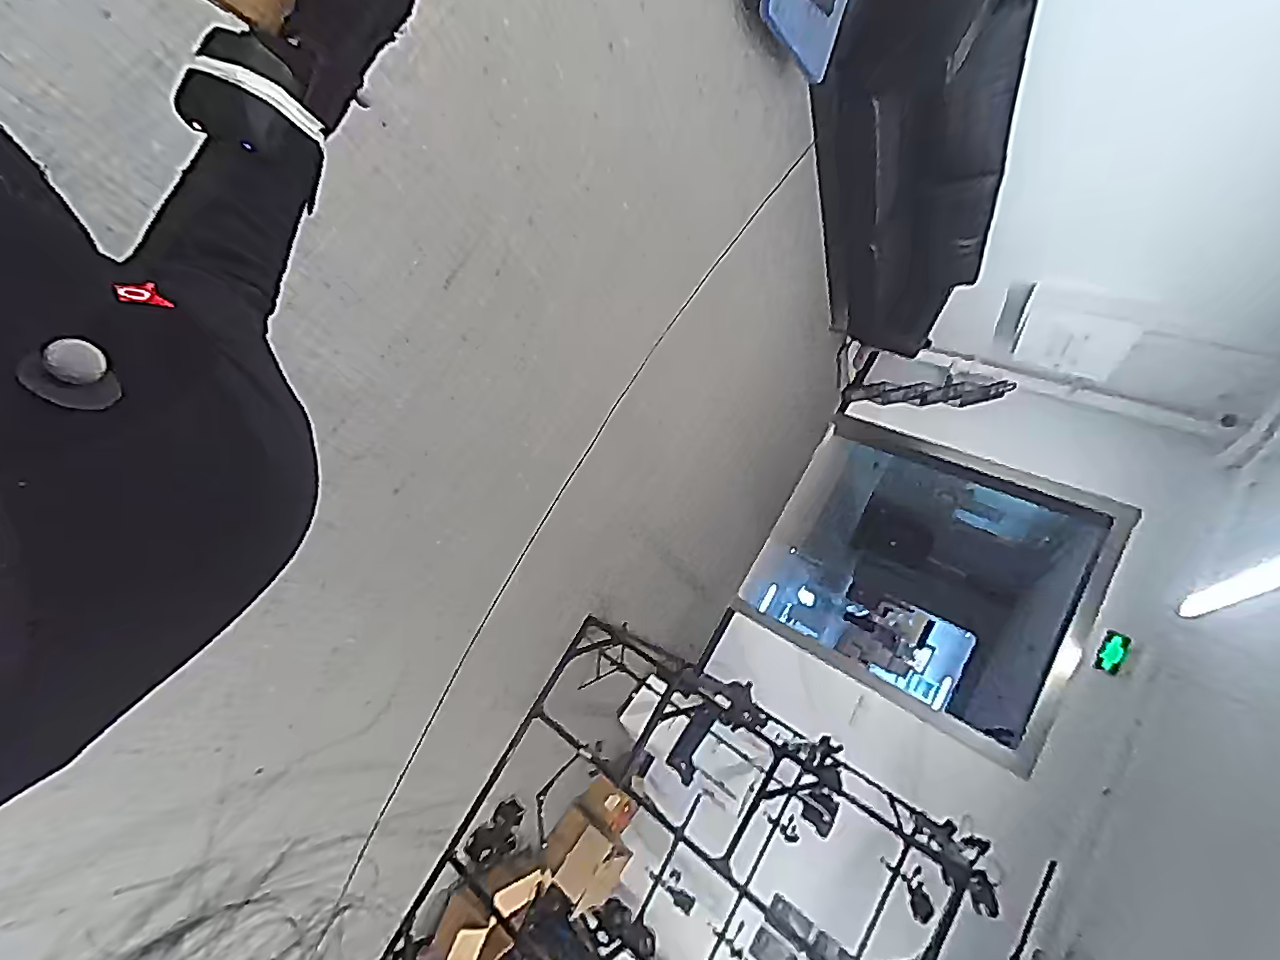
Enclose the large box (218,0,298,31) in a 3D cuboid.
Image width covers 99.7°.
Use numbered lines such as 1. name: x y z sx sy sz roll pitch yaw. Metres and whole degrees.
1. large box: -0.384 -0.562 0.269 0.320 0.320 0.408 -54 153 12
